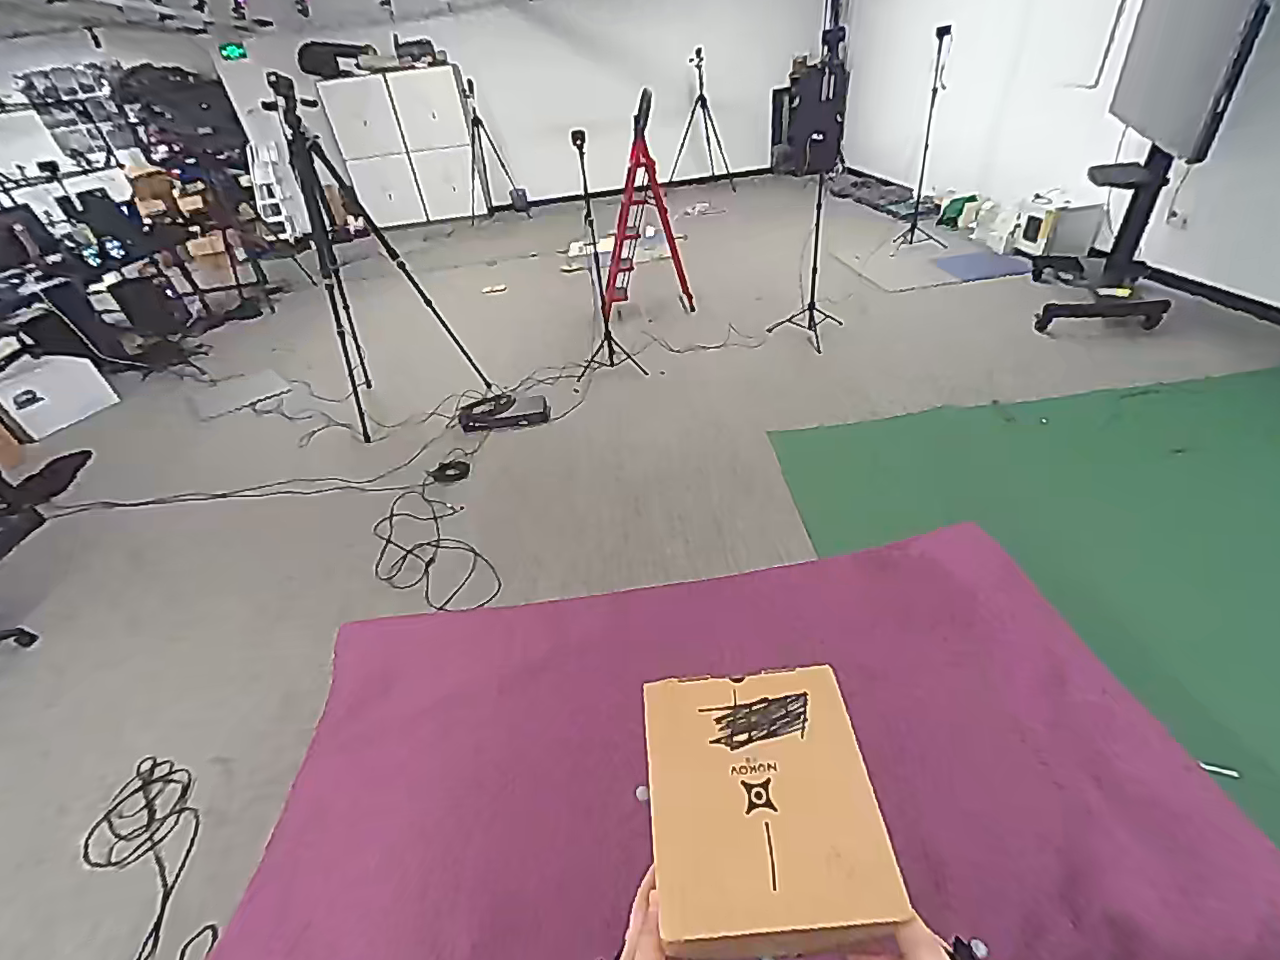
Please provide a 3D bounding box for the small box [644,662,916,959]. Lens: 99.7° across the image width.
[{"bbox_3d":[0.094,0.277,0.449,0.168,0.176,0.179,-7,44,2],"label":"small box"}]
